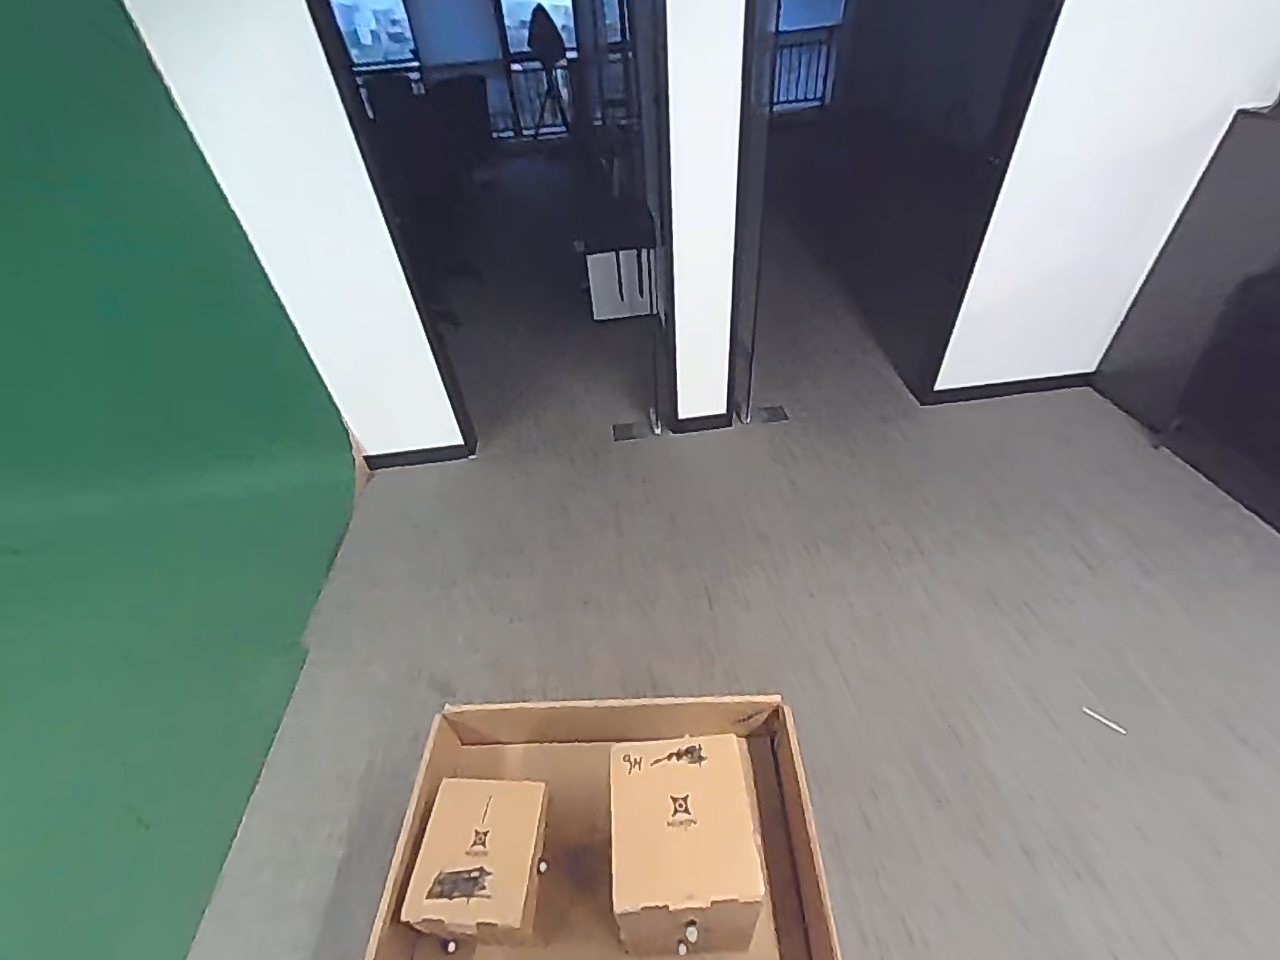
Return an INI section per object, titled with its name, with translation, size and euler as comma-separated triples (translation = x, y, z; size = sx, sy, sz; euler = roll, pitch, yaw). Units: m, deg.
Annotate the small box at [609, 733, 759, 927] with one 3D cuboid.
[small box]
translation = 0.051, 0.451, 0.692
size = 0.168, 0.176, 0.179
euler = -5, 43, 0
